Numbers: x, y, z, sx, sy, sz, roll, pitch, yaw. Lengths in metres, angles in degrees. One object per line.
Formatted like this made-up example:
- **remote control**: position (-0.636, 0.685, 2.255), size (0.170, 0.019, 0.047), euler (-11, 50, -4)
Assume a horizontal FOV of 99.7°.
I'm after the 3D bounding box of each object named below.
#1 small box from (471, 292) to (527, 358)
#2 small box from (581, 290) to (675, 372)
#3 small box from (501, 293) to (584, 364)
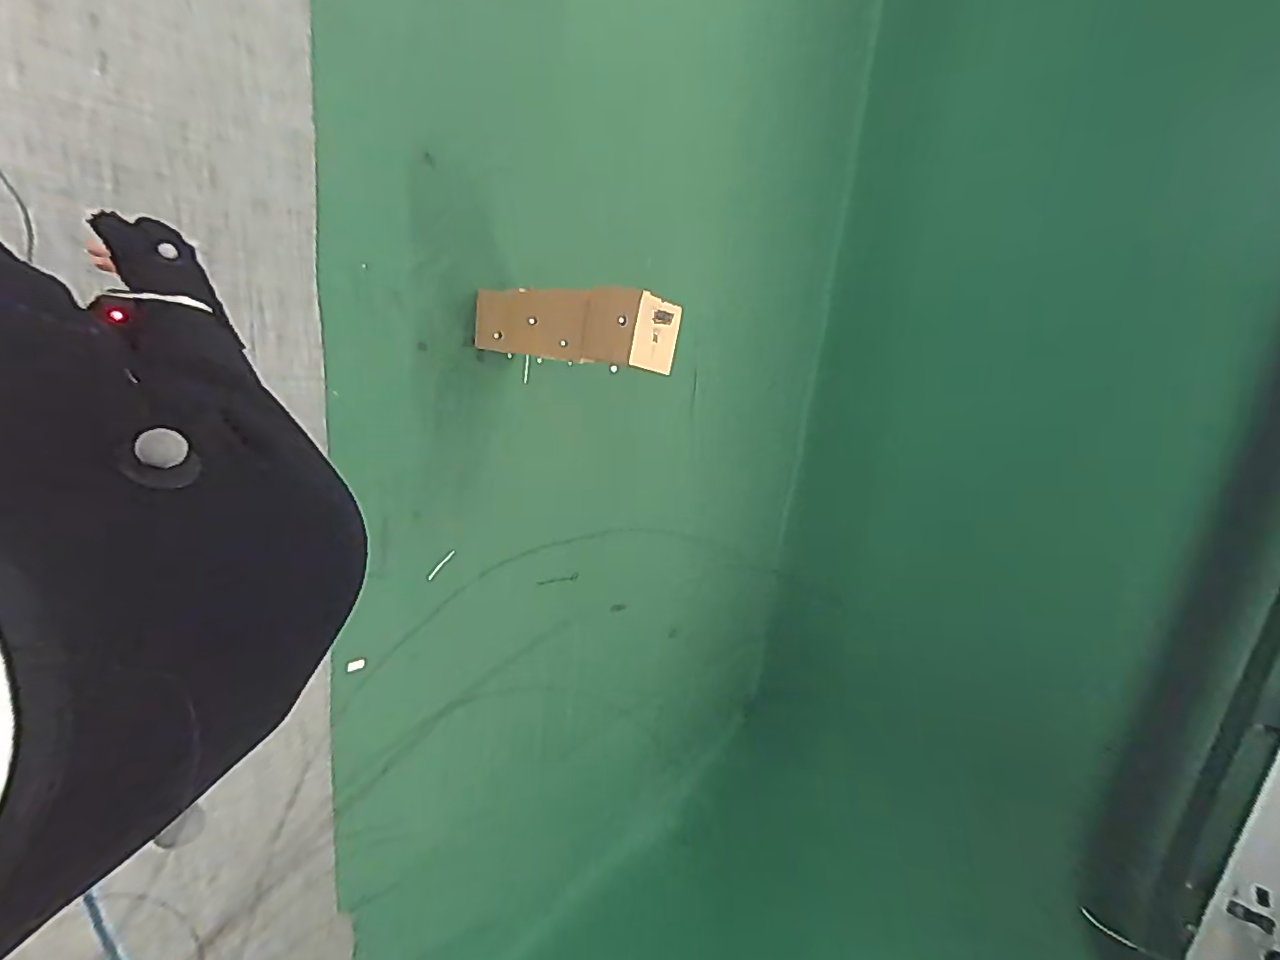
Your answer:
- **small box**: position (-0.409, -0.482, 1.687), size (0.168, 0.176, 0.179), euler (-8, 110, -51)
- **small box**: position (-0.034, -0.379, 1.386), size (0.168, 0.176, 0.179), euler (-4, 105, -51)
- **small box**: position (-0.289, -0.443, 1.584), size (0.168, 0.176, 0.179), euler (-7, 108, -51)
